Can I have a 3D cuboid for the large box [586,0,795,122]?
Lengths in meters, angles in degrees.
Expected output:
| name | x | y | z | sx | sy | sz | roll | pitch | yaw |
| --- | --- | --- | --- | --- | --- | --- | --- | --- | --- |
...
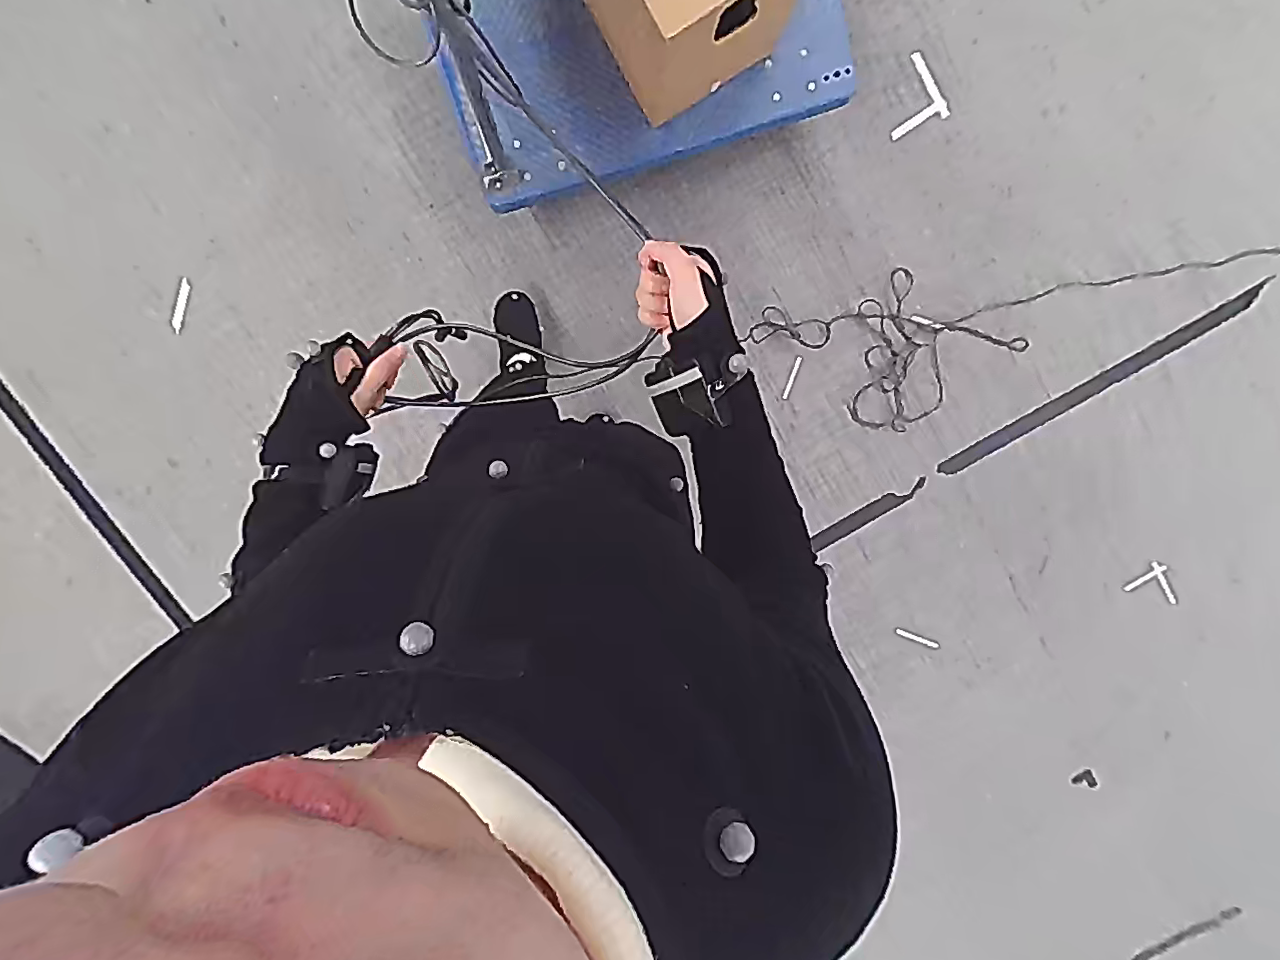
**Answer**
| name | x | y | z | sx | sy | sz | roll | pitch | yaw |
| --- | --- | --- | --- | --- | --- | --- | --- | --- | --- |
| large box | 0.064 | -0.996 | 0.997 | 0.320 | 0.320 | 0.408 | -32 | 101 | 4 |
